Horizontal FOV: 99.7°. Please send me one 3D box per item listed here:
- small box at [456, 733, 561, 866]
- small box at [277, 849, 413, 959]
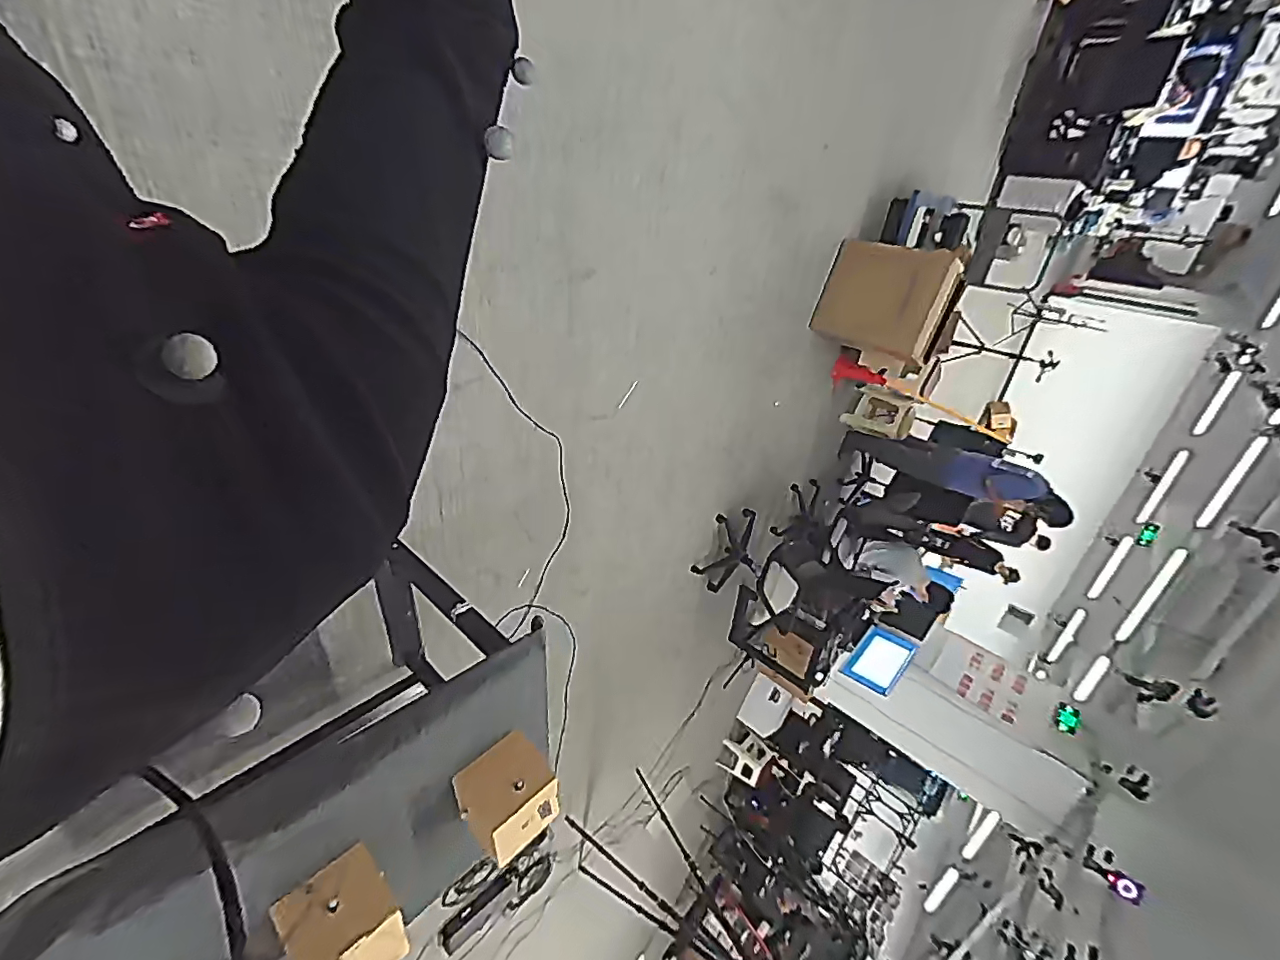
[{"bbox_3d":[-0.308,0.744,1.278,0.179,0.176,0.168,-27,133,-39],"label":"small box"},{"bbox_3d":[-0.558,0.854,1.028,0.168,0.176,0.179,-24,130,-43],"label":"small box"}]
